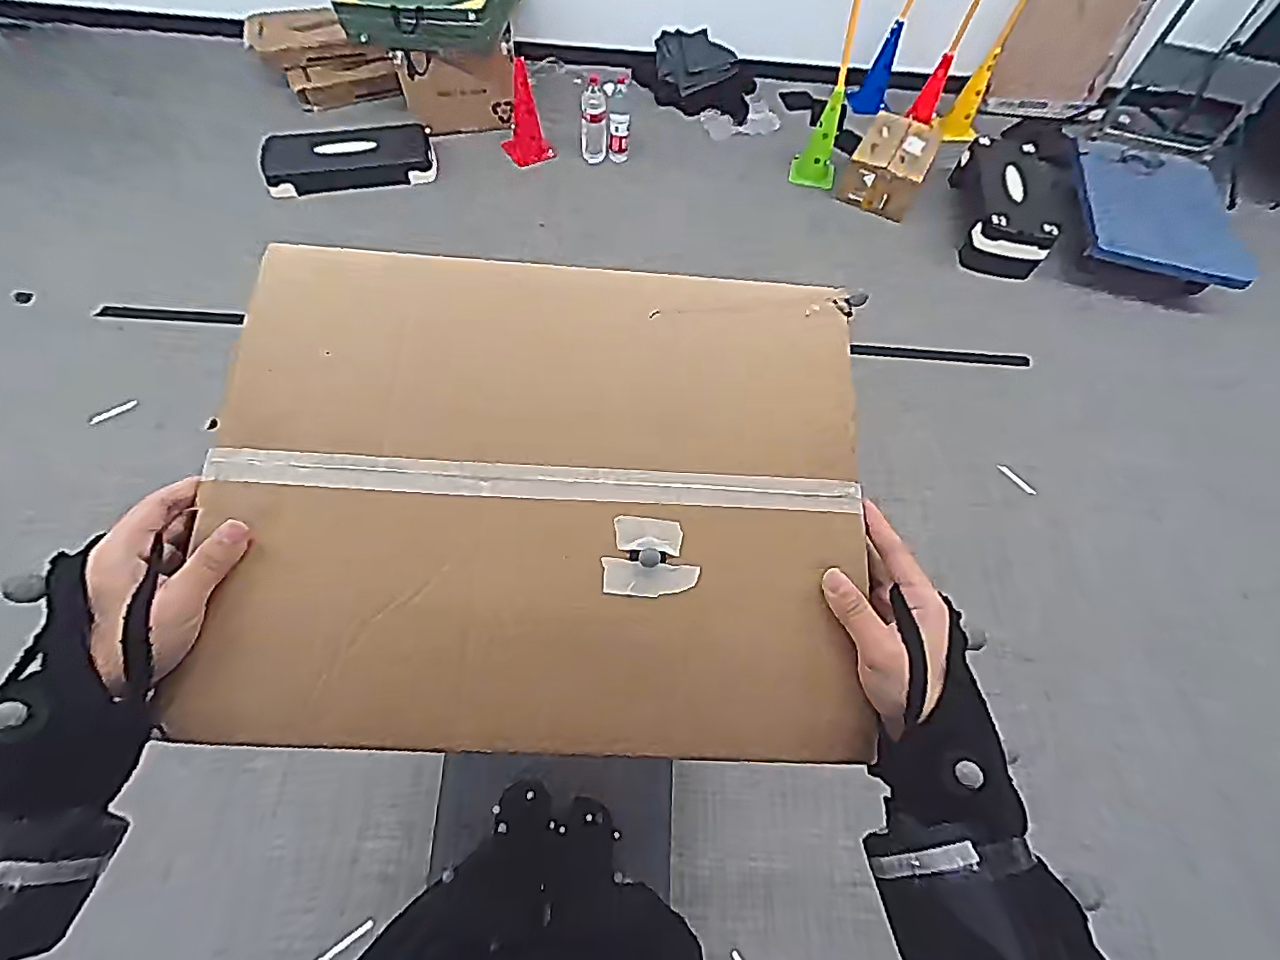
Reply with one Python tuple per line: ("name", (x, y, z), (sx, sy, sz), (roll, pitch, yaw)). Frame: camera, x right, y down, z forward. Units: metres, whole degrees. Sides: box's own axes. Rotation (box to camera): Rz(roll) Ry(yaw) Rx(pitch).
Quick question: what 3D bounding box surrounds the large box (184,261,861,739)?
("large box", (-0.069, 0.039, 0.498), (0.408, 0.320, 0.320), (4, 76, -3))
